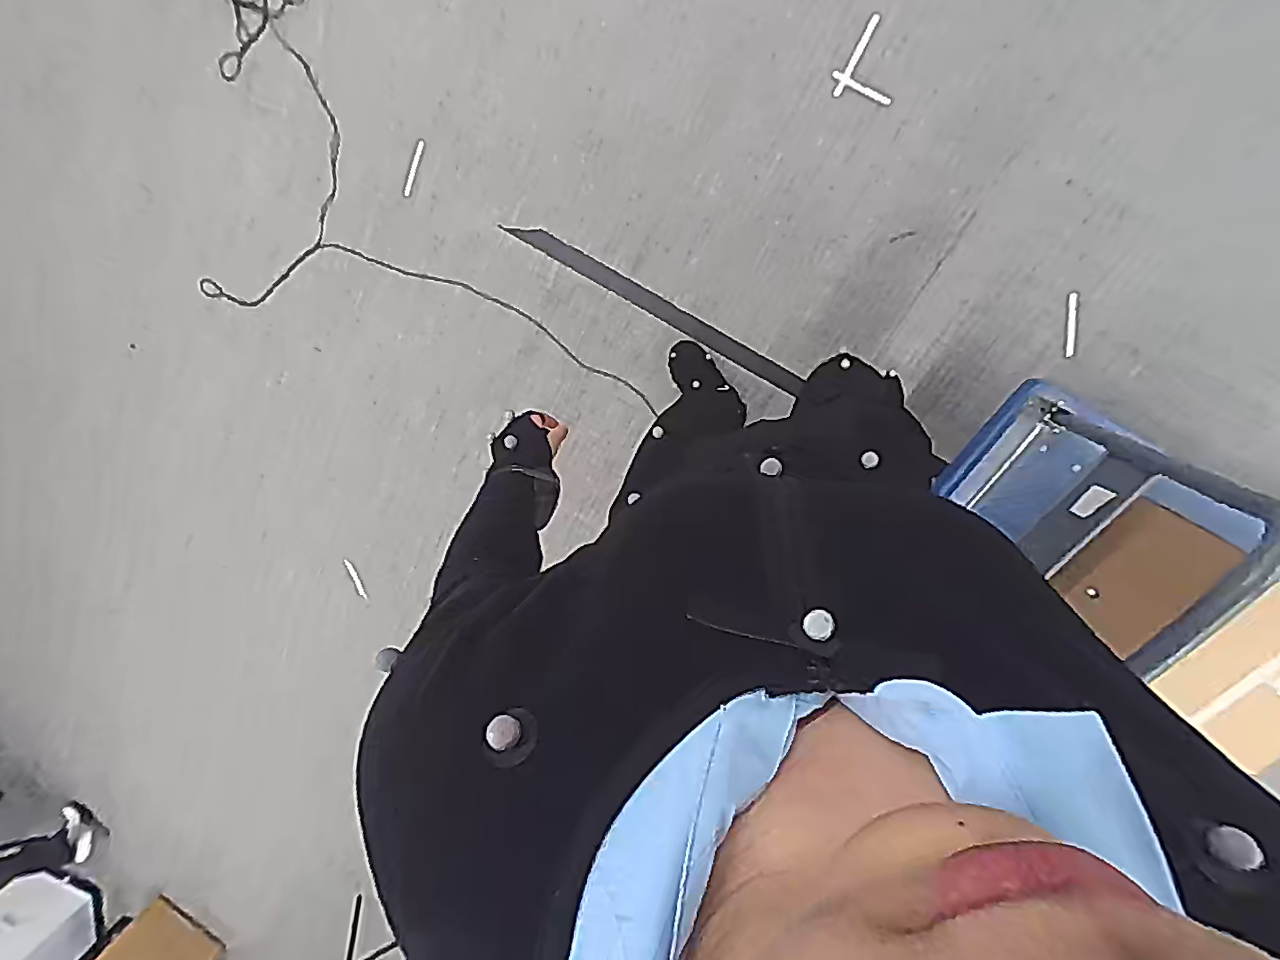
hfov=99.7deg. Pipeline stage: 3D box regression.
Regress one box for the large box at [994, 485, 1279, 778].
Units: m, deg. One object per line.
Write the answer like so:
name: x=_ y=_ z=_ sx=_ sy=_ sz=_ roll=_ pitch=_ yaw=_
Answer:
large box: x=1.037 y=0.287 z=1.094 sx=0.320 sy=0.320 sz=0.408 roll=31 pitch=112 yaw=1
